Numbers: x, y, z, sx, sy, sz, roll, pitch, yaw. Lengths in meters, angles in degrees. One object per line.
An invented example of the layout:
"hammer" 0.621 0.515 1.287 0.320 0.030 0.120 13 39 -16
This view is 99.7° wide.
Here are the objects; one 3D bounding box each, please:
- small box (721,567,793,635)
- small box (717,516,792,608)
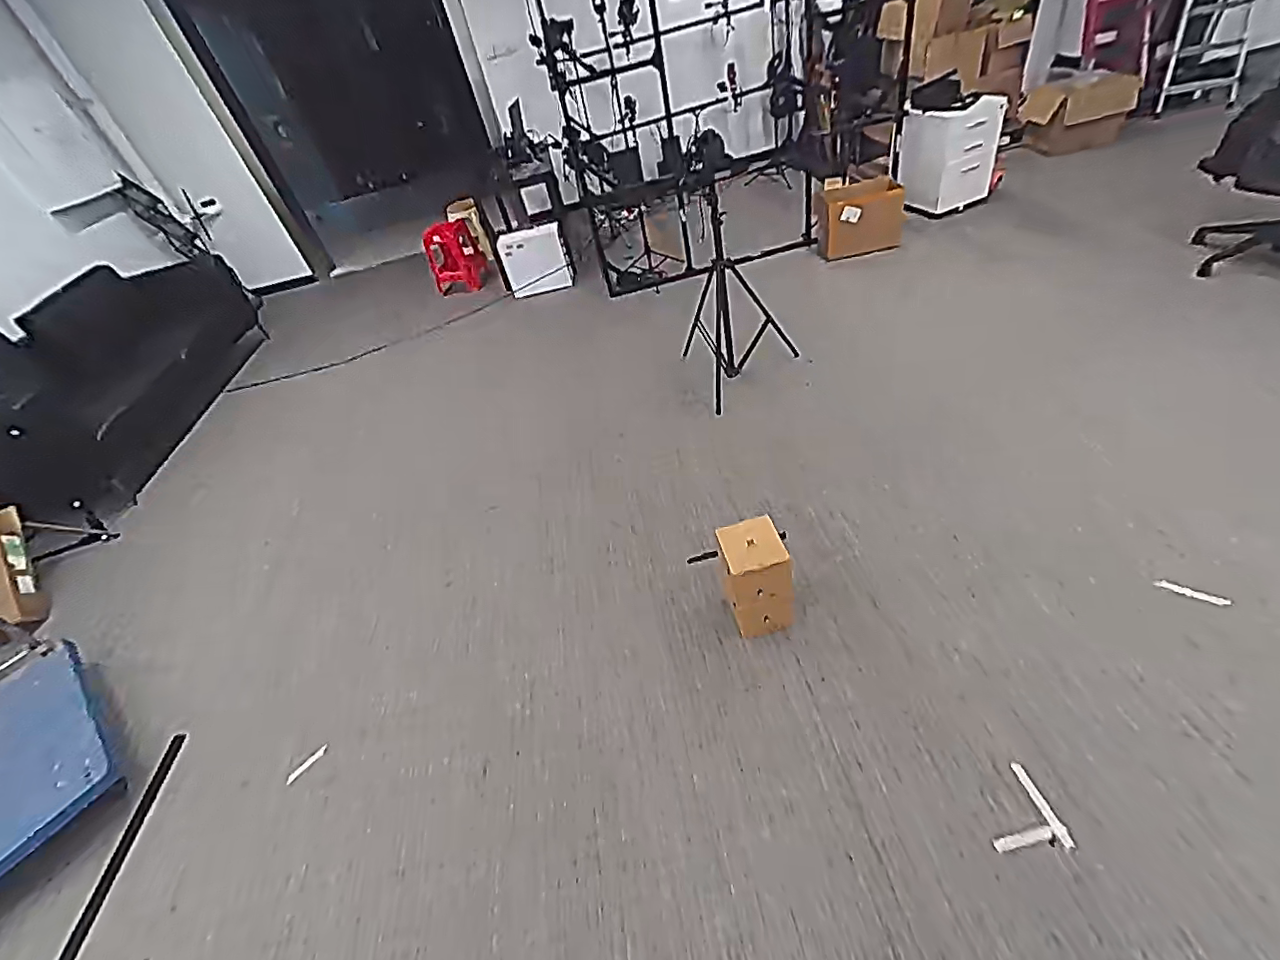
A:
"small box" 0.363 0.357 1.666 0.168 0.176 0.179 -17 40 -1
"small box" 0.329 0.237 1.559 0.168 0.176 0.179 -16 42 0
